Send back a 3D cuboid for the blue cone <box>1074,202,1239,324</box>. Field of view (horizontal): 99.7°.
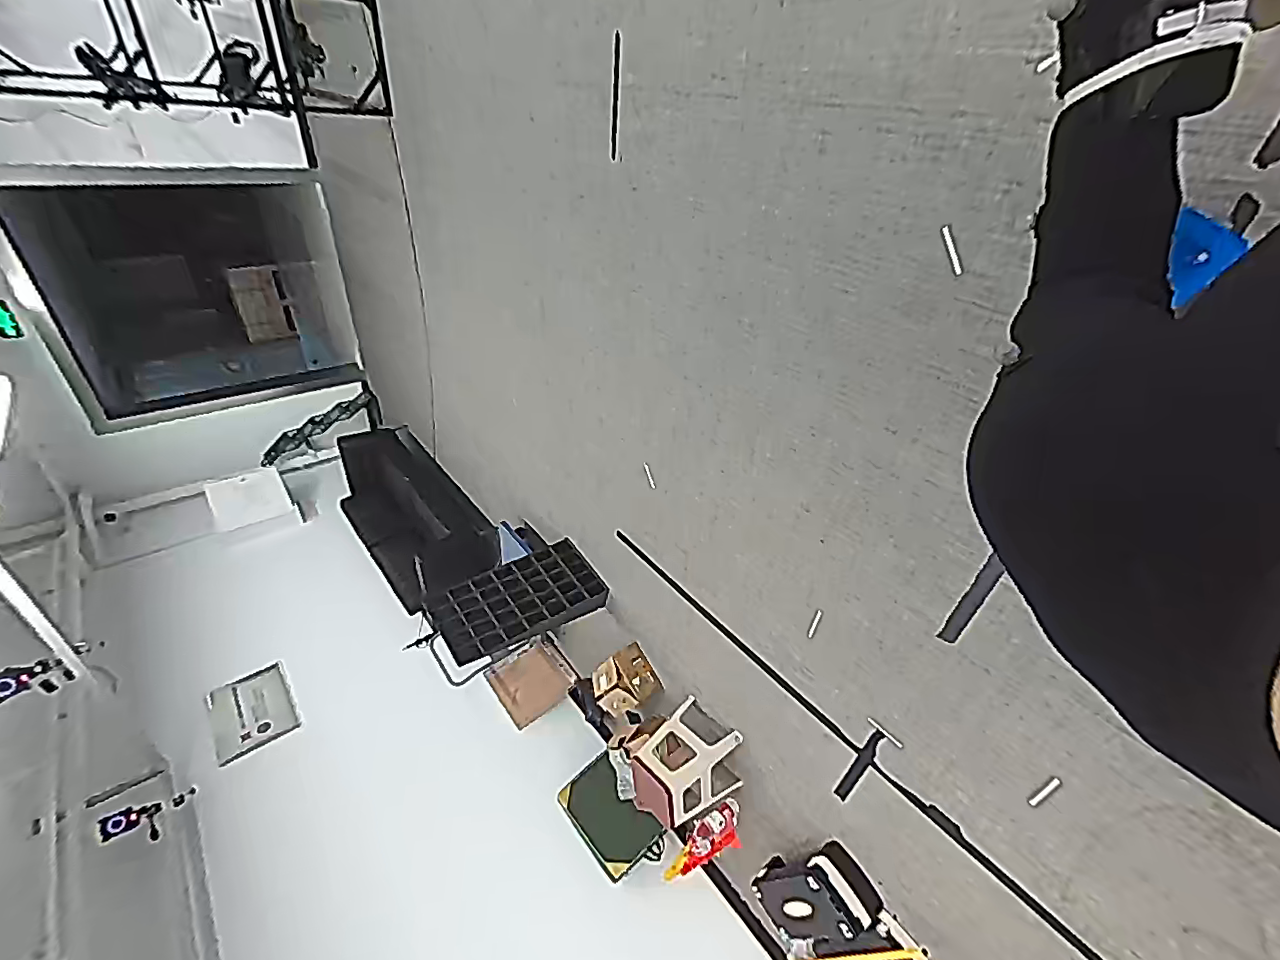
[{"bbox_3d":[0.886,-0.378,0.982,0.193,0.380,0.192,55,145,21],"label":"blue cone"}]

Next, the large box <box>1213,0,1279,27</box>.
[{"bbox_3d":[0.544,-0.497,0.234,0.408,0.320,0.320,8,119,51],"label":"large box"}]
